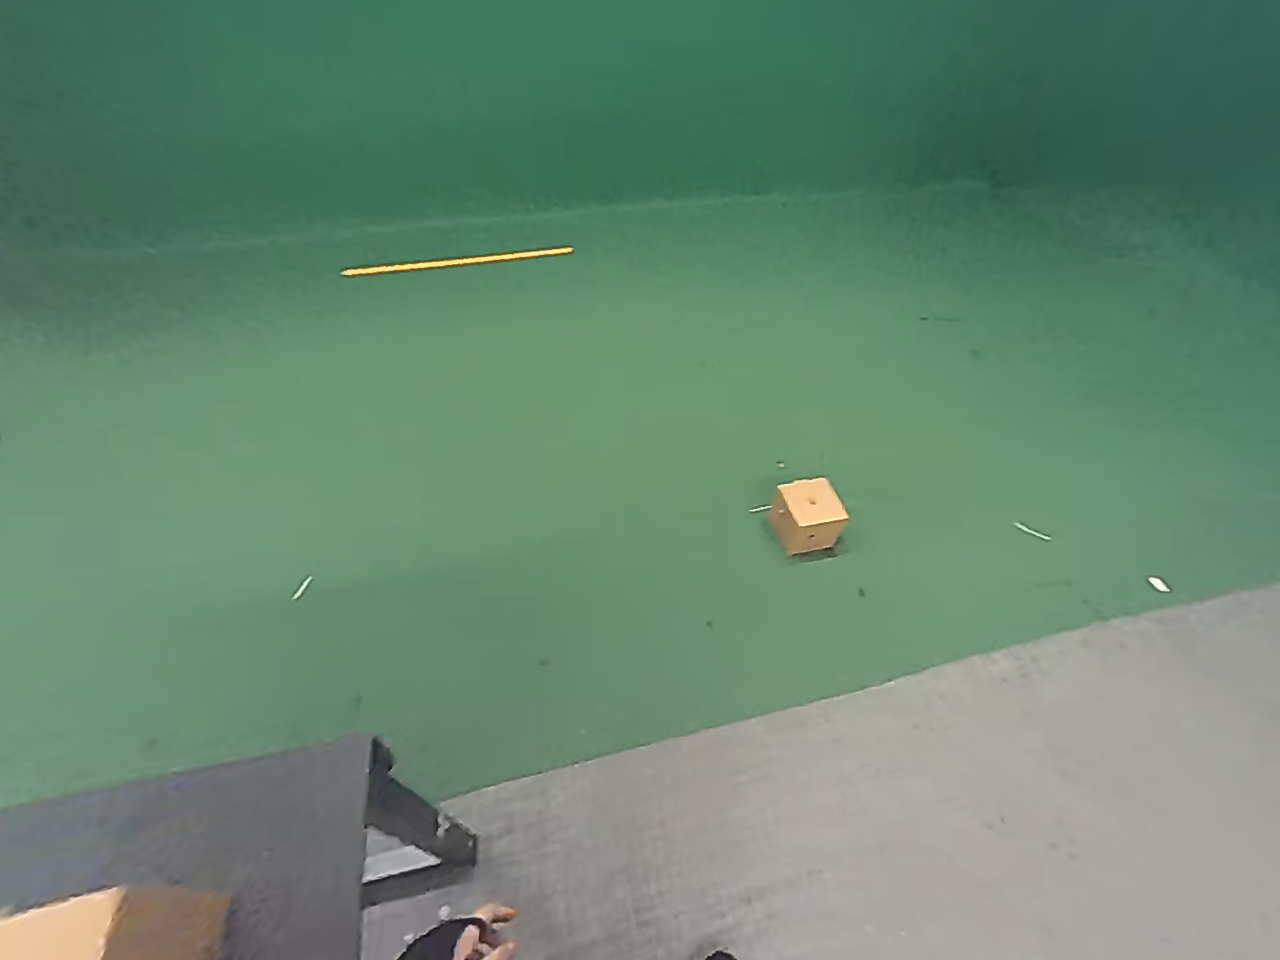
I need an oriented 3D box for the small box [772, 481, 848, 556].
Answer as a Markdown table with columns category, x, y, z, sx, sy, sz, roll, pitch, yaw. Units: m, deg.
| category | x | y | z | sx | sy | sz | roll | pitch | yaw |
| --- | --- | --- | --- | --- | --- | --- | --- | --- | --- |
| small box | 0.552 | 0.132 | 1.777 | 0.168 | 0.176 | 0.179 | -10 | 48 | -9 |
